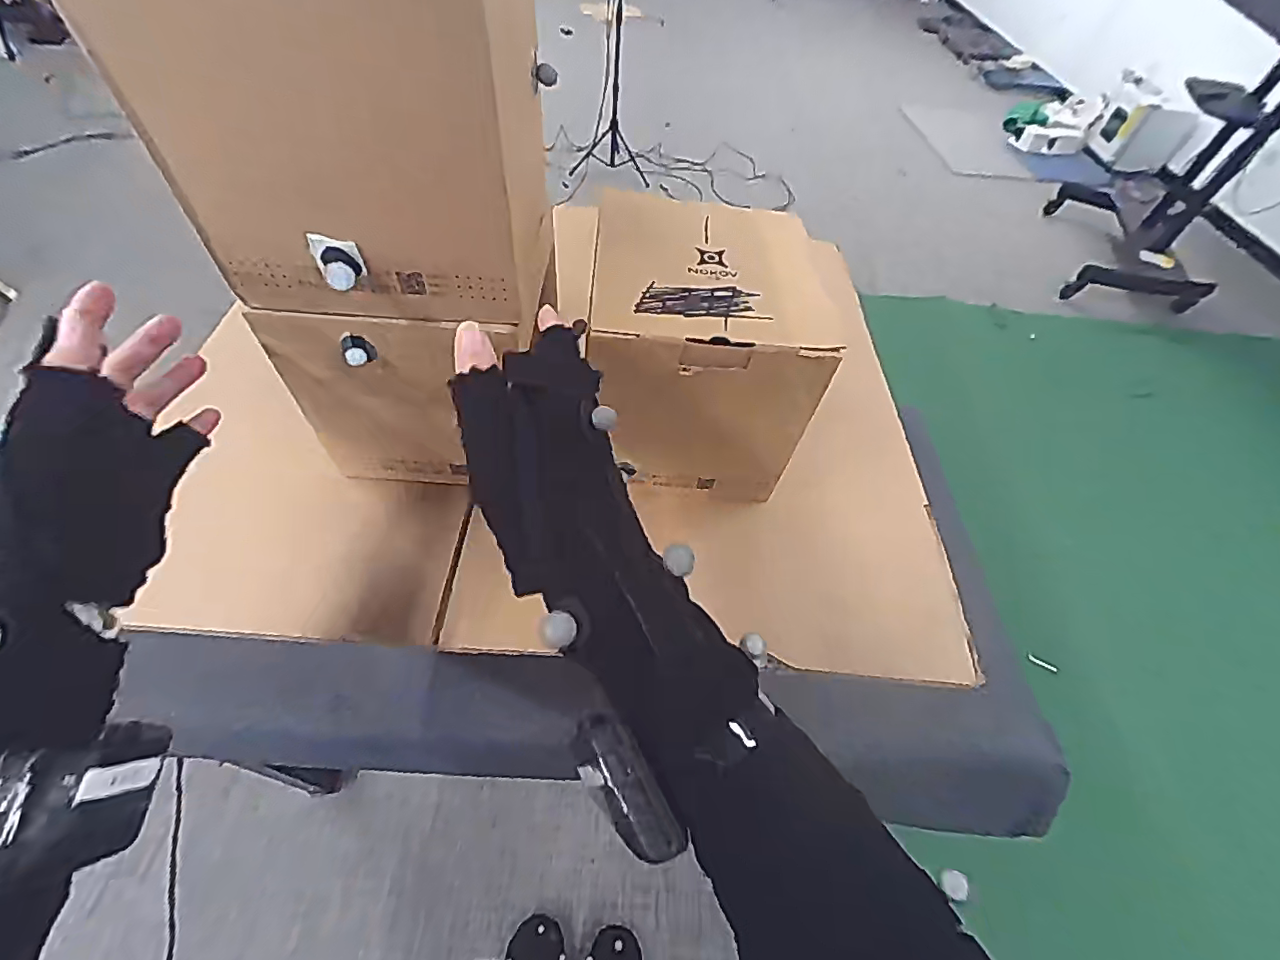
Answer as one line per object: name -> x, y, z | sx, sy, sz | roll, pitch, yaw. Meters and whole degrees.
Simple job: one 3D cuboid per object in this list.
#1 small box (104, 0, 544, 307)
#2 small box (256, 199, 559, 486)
small box -> -0.147, -0.225, 0.309 | 0.168, 0.176, 0.179 | 1, 55, -4
small box -> -0.161, -0.118, 0.450 | 0.168, 0.176, 0.179 | 4, 52, -1
